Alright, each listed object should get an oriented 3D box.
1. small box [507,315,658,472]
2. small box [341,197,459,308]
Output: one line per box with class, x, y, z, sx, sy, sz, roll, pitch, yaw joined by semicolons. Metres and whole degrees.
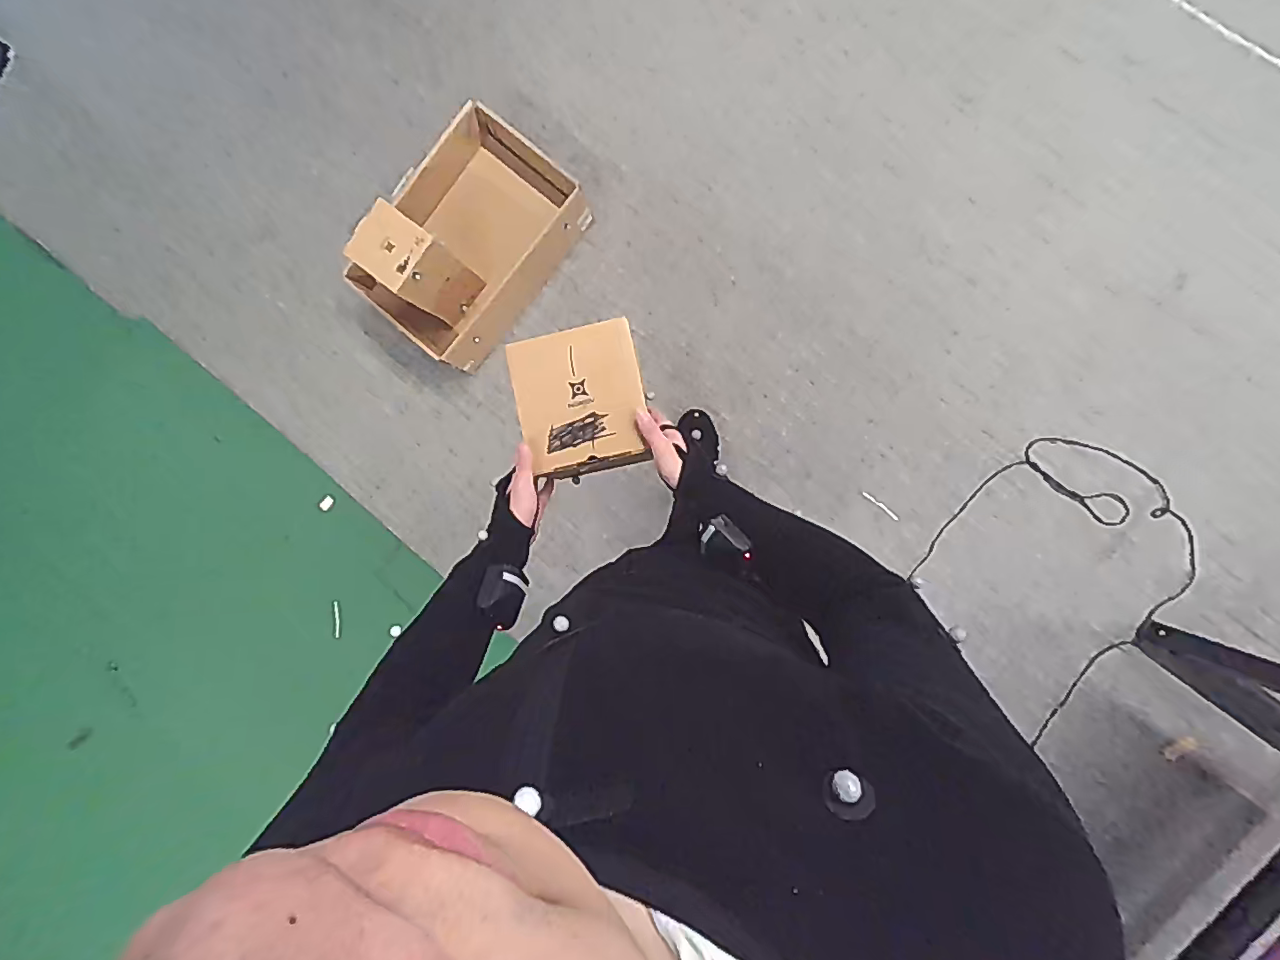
small box;-0.071;-0.109;0.770;0.168;0.176;0.179;-12;87;3
small box;-0.601;-0.565;1.372;0.179;0.176;0.168;38;96;5
